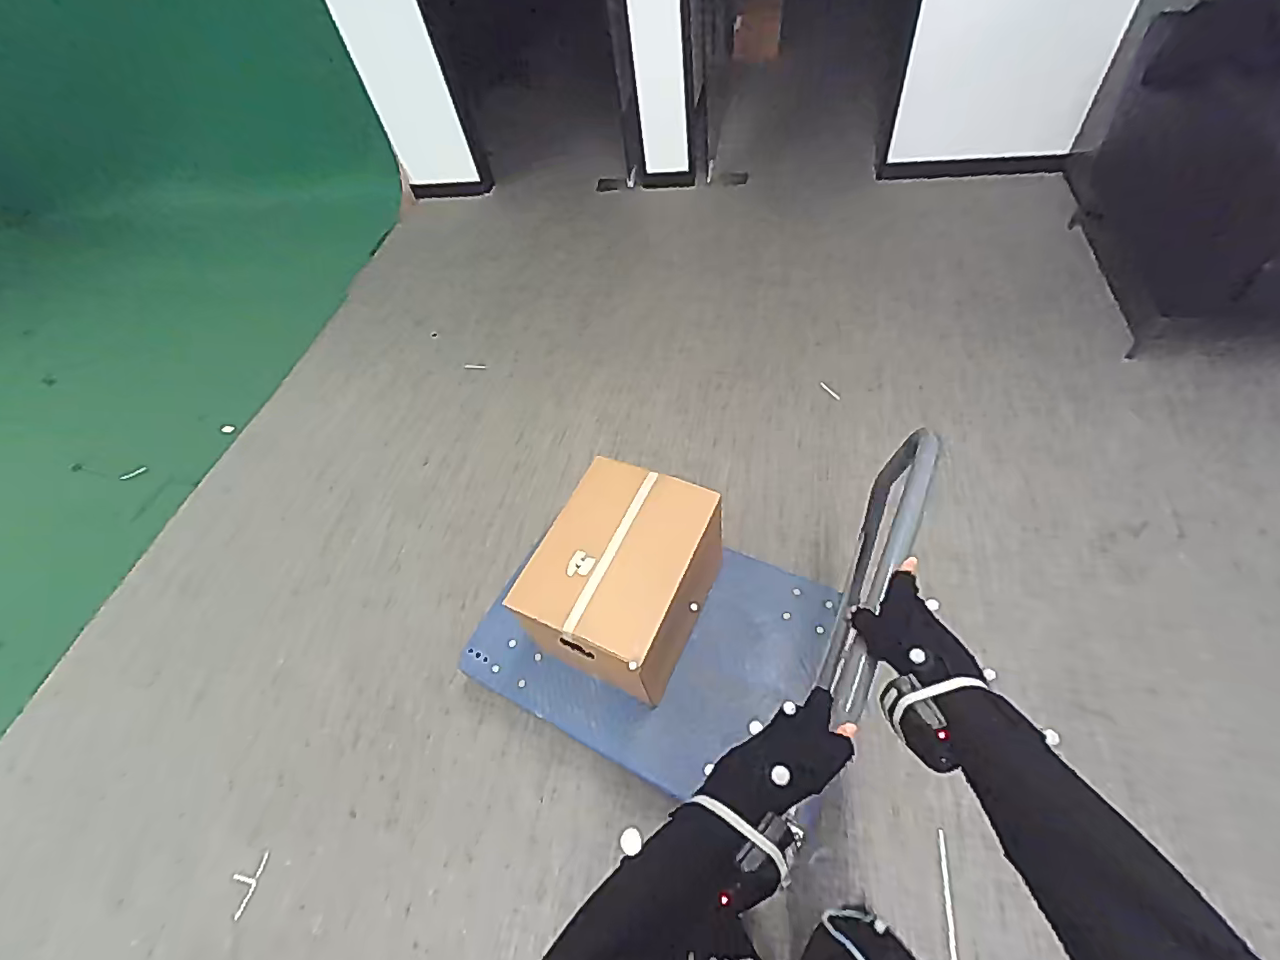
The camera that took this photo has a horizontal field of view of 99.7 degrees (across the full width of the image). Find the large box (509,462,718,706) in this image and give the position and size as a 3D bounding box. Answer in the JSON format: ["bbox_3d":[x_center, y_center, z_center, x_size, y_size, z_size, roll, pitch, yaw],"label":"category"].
[{"bbox_3d":[-0.028,0.234,1.244,0.320,0.320,0.408,17,60,21],"label":"large box"}]
